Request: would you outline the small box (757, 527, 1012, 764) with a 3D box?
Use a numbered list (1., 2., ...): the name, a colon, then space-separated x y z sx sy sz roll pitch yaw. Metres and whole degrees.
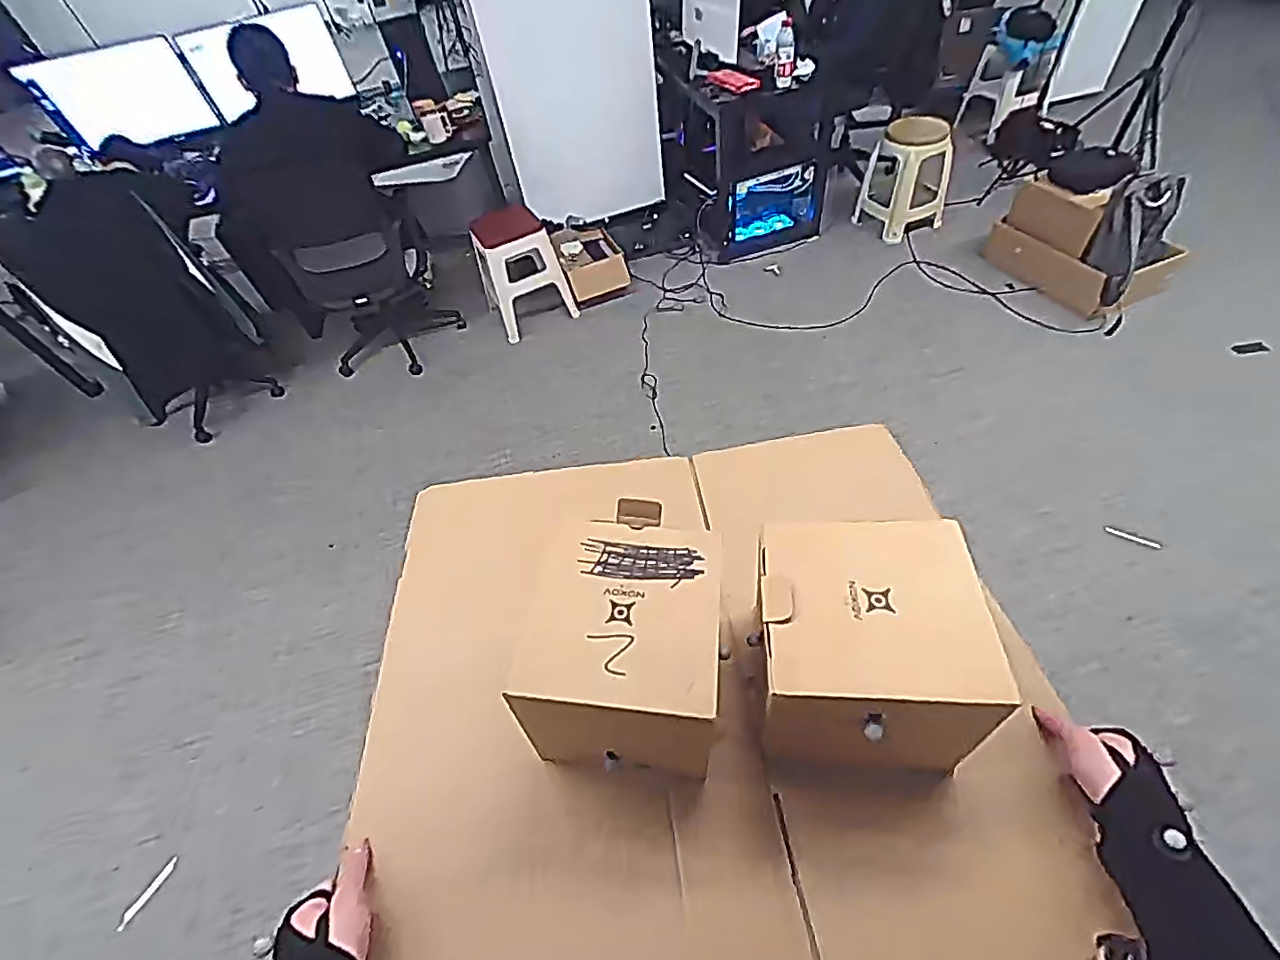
1. small box: 0.206 0.160 0.517 0.179 0.176 0.168 -2 48 10
